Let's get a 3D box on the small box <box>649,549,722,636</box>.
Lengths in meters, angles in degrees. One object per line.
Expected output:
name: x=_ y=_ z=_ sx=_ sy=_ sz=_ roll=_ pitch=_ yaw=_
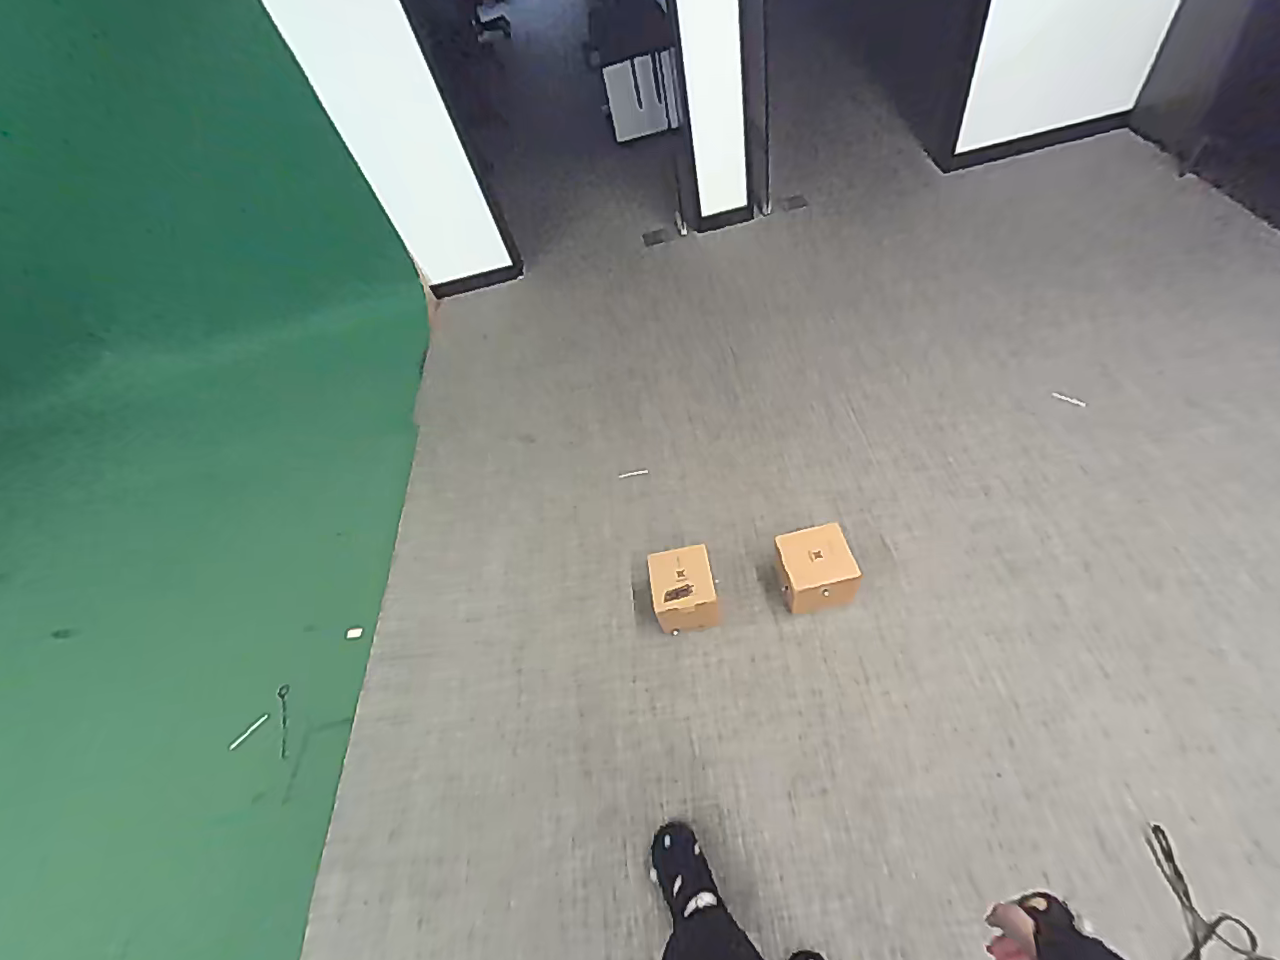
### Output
small box: x=0.128 y=0.321 z=1.509 sx=0.168 sy=0.176 sz=0.179 roll=-12 pitch=51 yaw=6

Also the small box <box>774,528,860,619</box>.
small box: x=0.474 y=0.258 z=1.466 sx=0.179 sy=0.176 sz=0.168 roll=-14 pitch=52 yaw=4
